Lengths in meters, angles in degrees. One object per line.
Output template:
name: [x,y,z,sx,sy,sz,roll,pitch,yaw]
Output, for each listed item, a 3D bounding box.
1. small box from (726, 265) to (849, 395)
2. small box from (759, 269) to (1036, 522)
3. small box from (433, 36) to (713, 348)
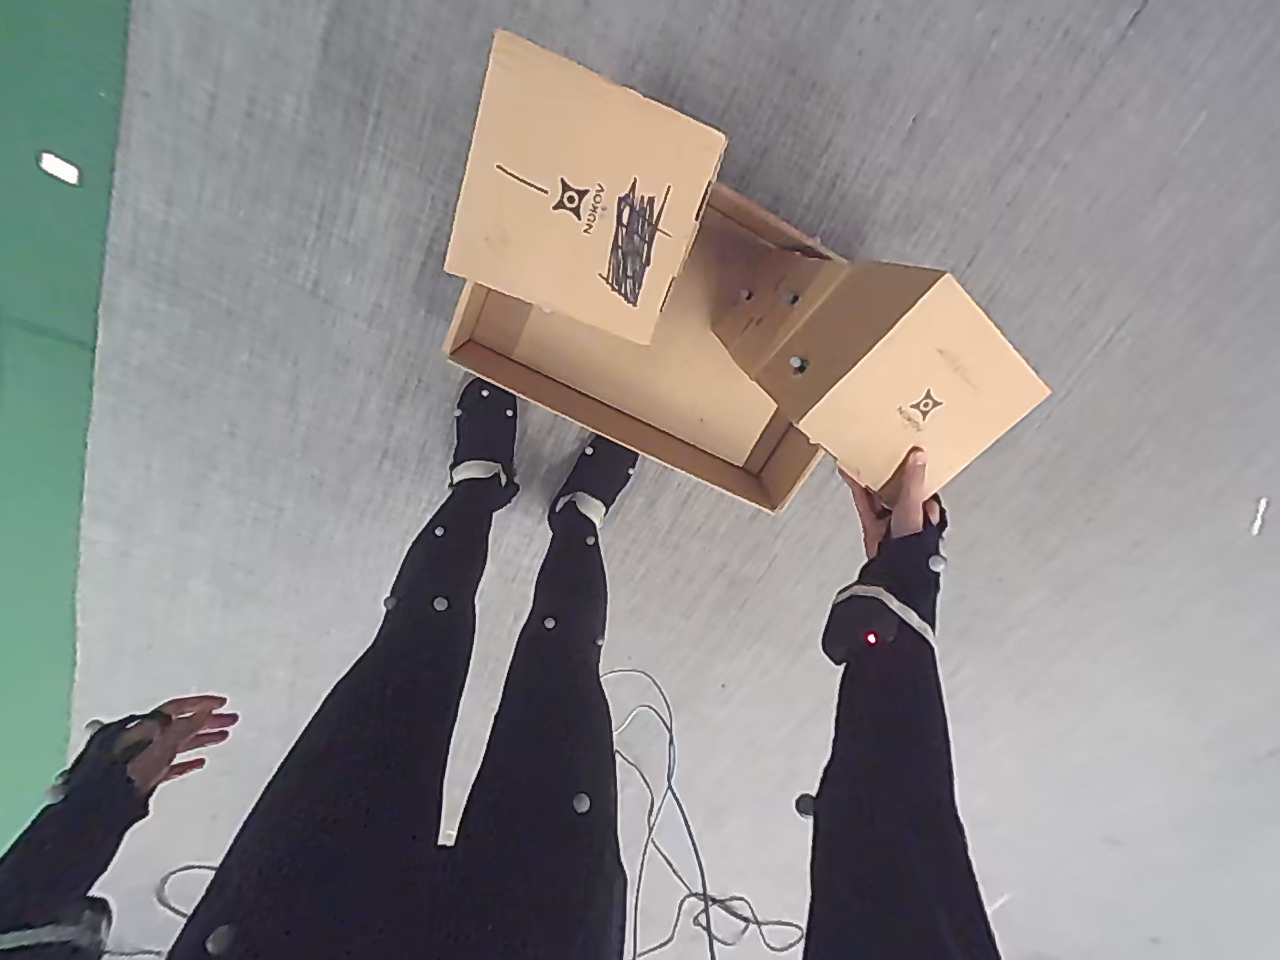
small box: [0.236,-0.163,0.717,0.179,0.176,0.168,35,110,-16]
small box: [0.245,-0.096,0.568,0.168,0.176,0.179,37,108,-18]
small box: [-0.056,-0.240,0.483,0.179,0.176,0.168,19,112,-9]
